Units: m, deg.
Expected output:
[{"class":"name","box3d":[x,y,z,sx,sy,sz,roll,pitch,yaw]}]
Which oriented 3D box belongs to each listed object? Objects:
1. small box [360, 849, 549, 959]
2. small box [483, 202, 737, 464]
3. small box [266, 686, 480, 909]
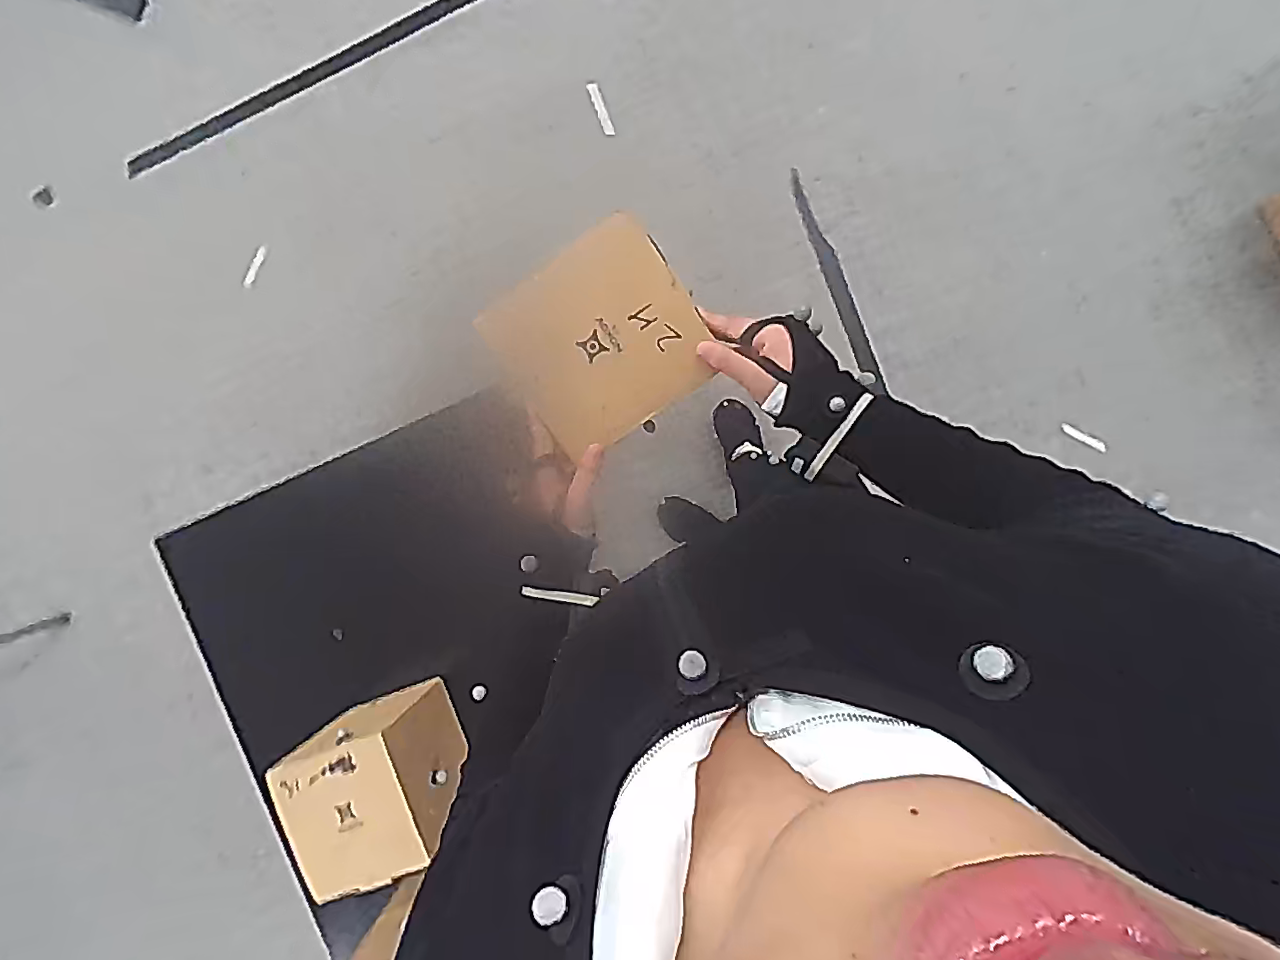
[{"class":"small box","box3d":[-0.248,0.656,0.735,0.179,0.176,0.168,-24,90,4]},{"class":"small box","box3d":[-0.022,-0.142,0.556,0.179,0.176,0.168,-32,101,9]},{"class":"small box","box3d":[-0.344,0.414,0.733,0.168,0.176,0.179,-22,91,5]}]
